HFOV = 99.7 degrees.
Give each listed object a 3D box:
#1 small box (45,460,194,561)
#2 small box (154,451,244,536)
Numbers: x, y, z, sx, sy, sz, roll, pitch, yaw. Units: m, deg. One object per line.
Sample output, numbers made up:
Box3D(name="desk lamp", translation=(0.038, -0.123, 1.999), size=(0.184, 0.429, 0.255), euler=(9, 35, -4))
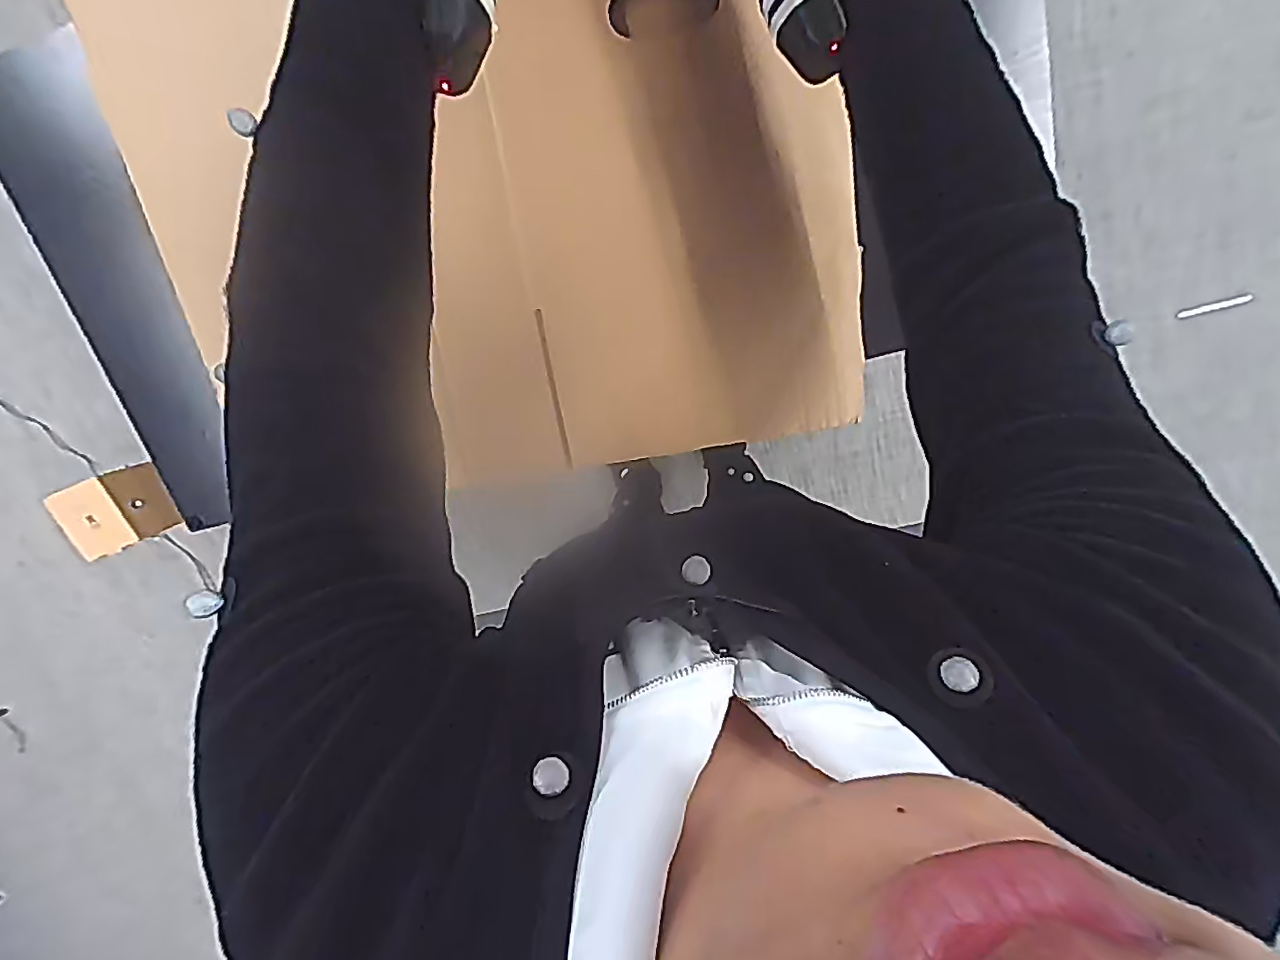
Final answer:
Box3D(name="small box", translation=(-1.284, 0.070, 1.349), size=(0.168, 0.176, 0.179), euler=(-21, 103, 9))
Box3D(name="small box", translation=(-1.270, 0.028, 1.506), size=(0.168, 0.176, 0.179), euler=(-17, 106, 9))
